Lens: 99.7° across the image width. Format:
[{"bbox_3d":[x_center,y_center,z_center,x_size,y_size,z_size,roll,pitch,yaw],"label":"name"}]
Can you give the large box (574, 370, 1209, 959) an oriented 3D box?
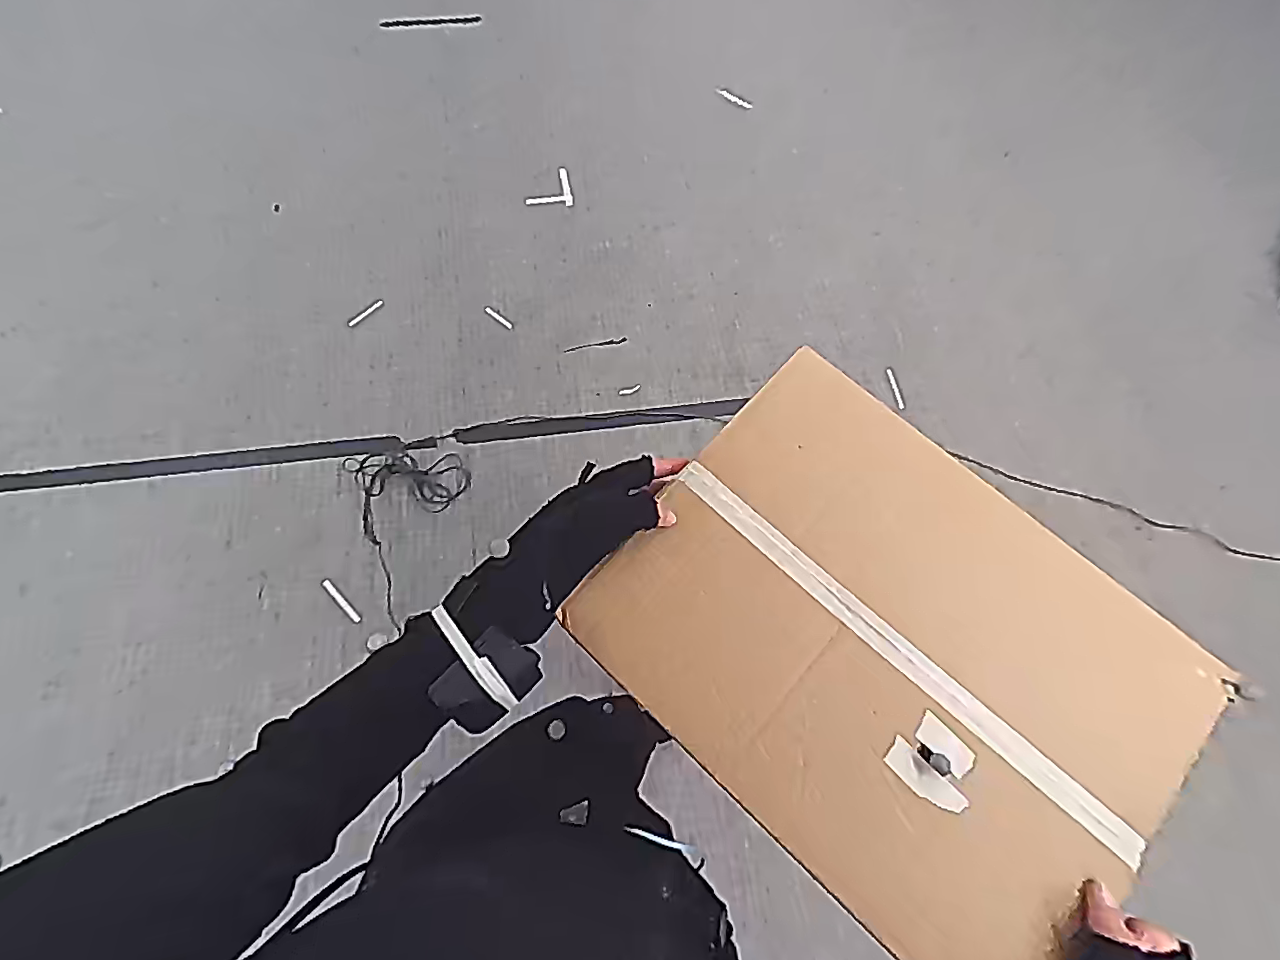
[{"bbox_3d":[0.189,0.171,0.562,0.408,0.320,0.320,42,79,11],"label":"large box"}]
